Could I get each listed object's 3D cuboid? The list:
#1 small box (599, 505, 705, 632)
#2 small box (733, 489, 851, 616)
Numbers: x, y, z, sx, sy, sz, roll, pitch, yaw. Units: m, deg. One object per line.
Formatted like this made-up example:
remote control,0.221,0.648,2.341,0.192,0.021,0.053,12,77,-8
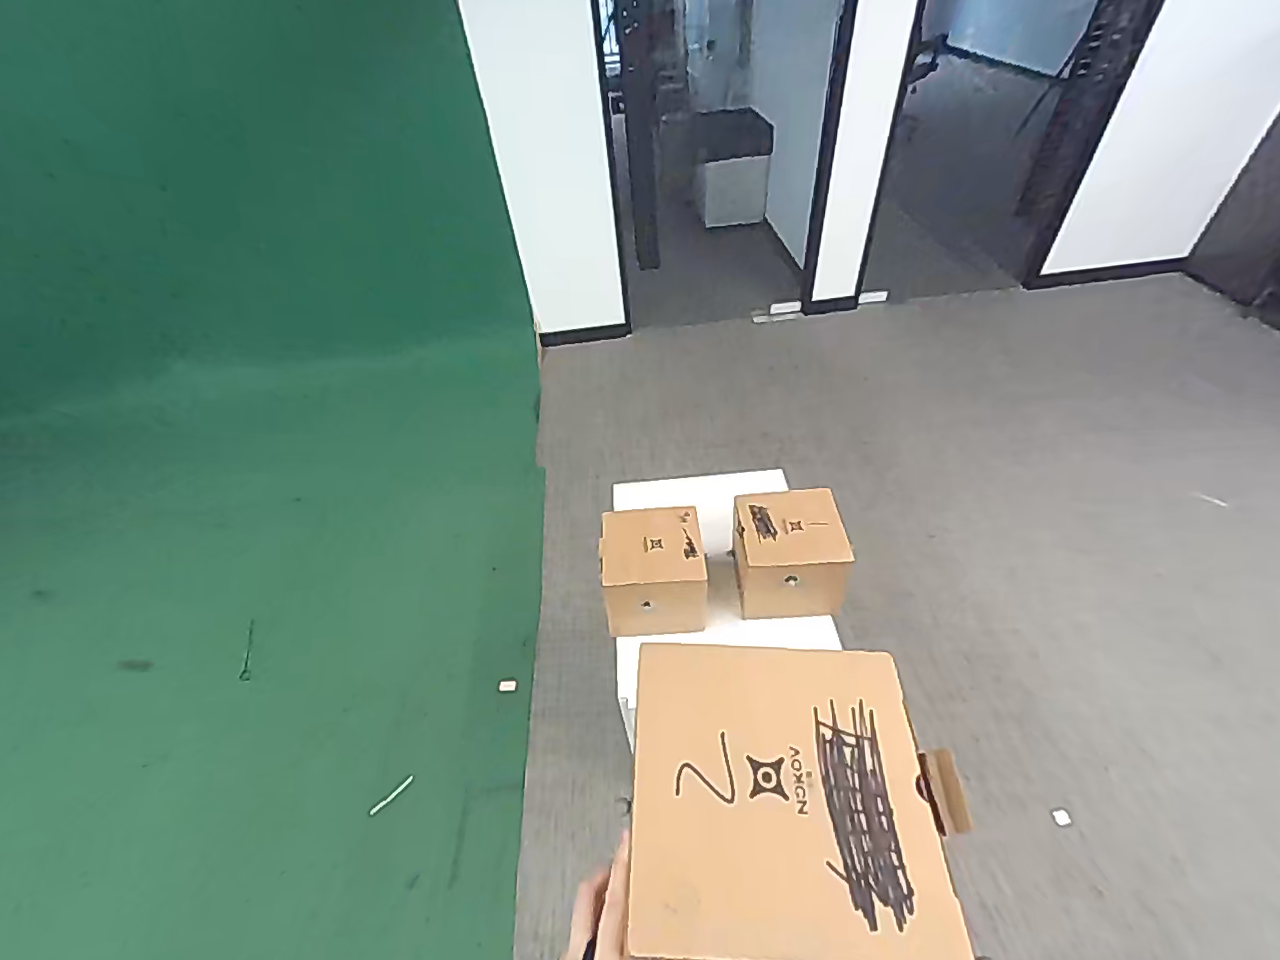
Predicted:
small box,0.024,0.165,0.991,0.179,0.176,0.168,-4,46,1
small box,0.266,0.137,0.995,0.179,0.176,0.168,-3,45,3
